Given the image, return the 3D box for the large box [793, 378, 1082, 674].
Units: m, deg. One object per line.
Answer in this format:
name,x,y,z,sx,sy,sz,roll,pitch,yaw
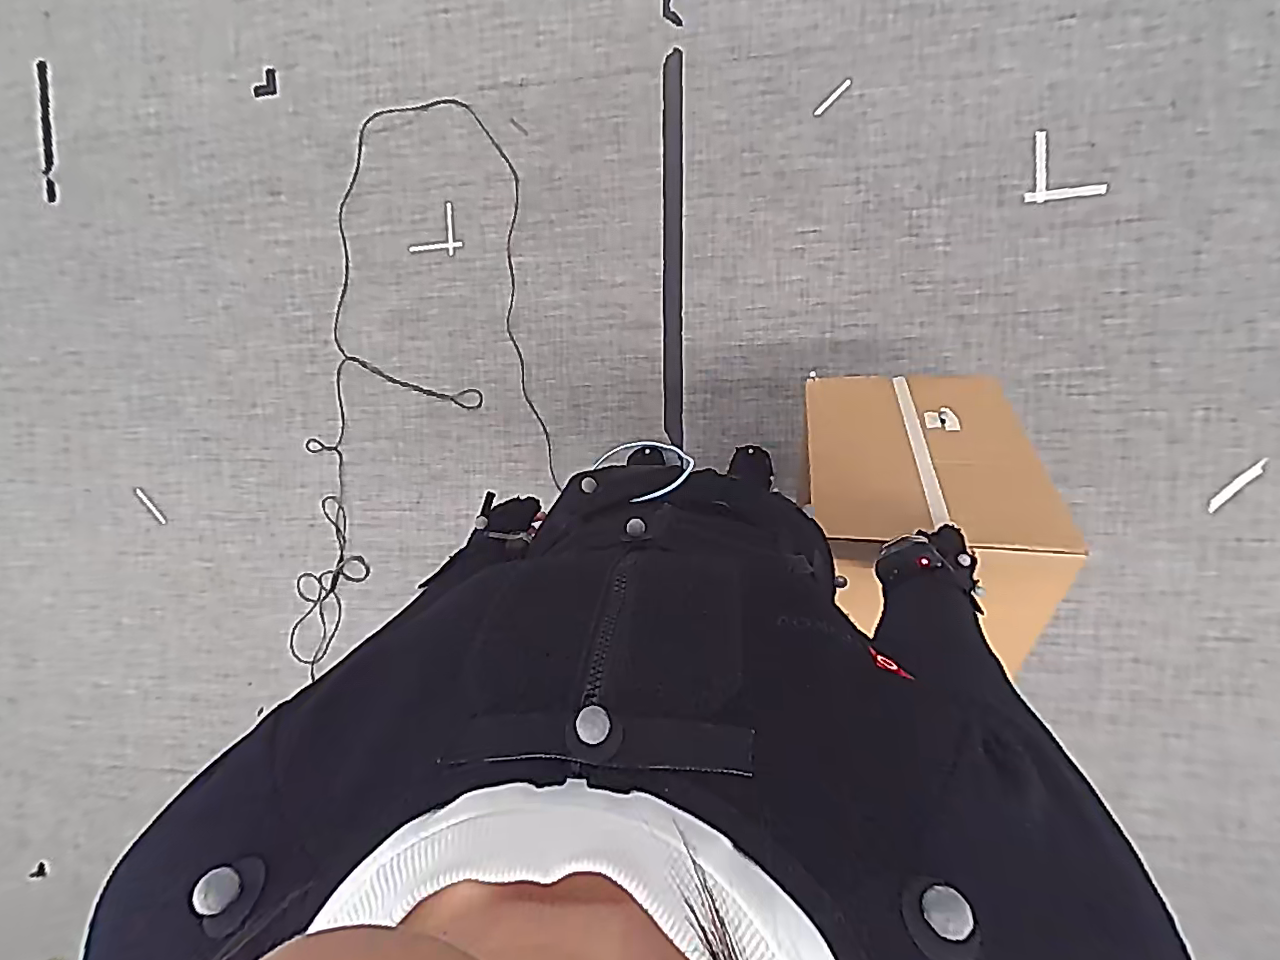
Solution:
large box,0.436,0.064,0.922,0.320,0.408,0.320,3,130,11
